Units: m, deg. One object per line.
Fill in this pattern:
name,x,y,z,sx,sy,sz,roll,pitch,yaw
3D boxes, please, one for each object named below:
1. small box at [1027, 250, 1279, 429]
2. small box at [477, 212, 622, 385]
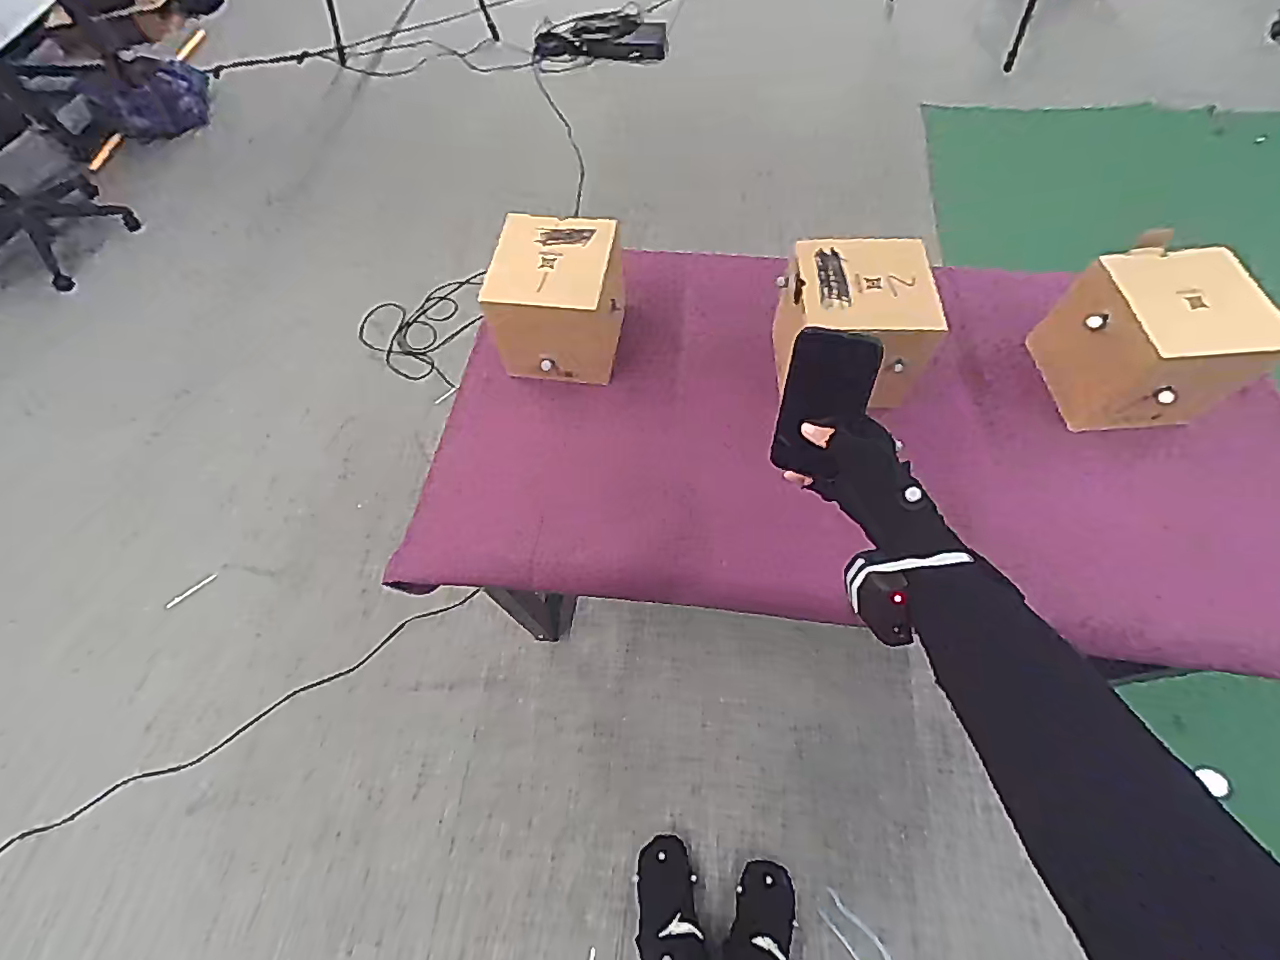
small box,0.683,-0.181,0.738,0.168,0.176,0.179,-4,62,1
small box,-0.123,-0.270,0.820,0.168,0.176,0.179,7,65,6
